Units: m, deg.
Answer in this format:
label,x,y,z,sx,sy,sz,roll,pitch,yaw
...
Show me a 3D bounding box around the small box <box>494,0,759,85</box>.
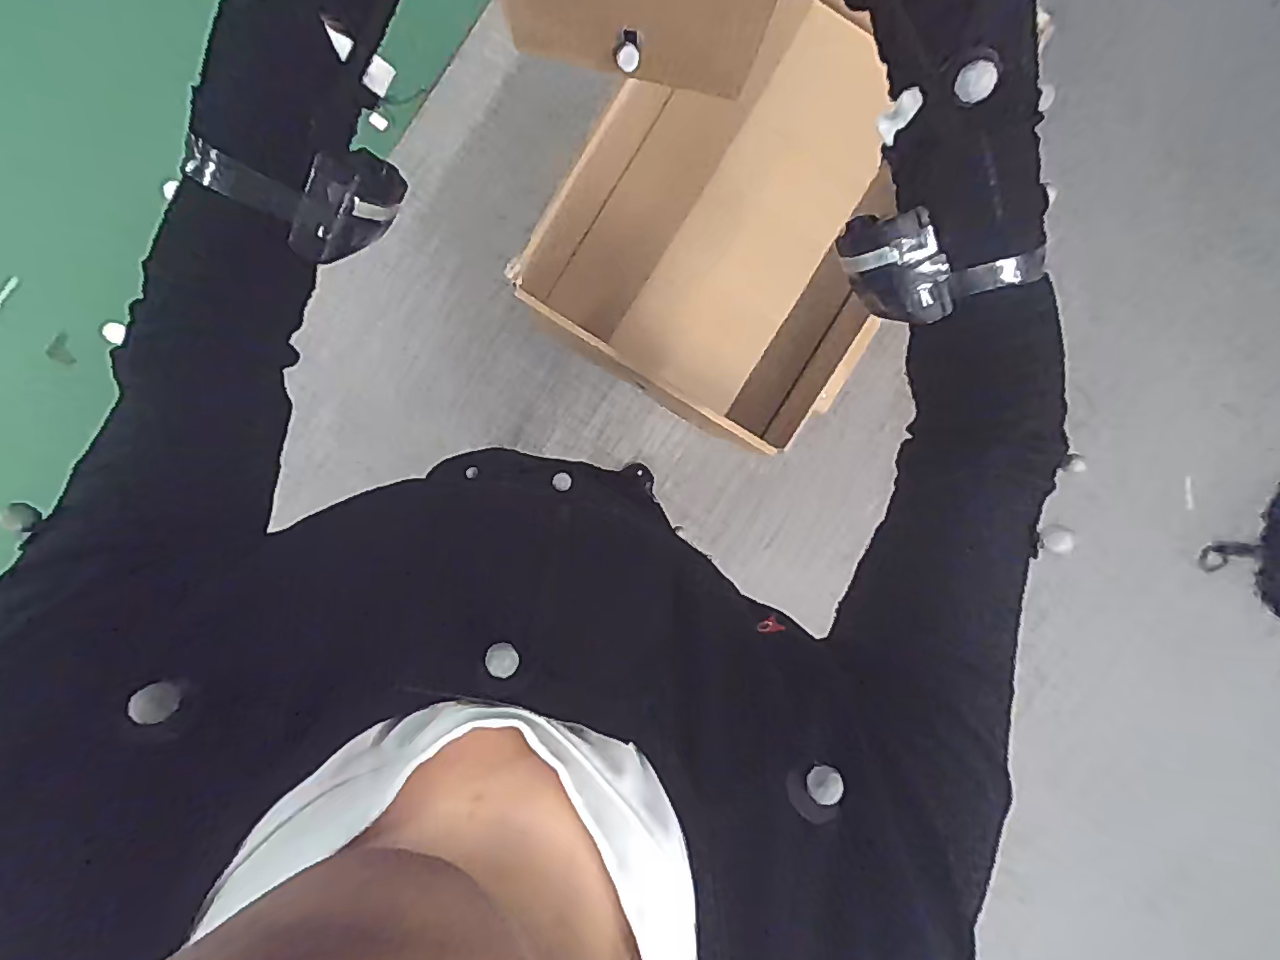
label,x,y,z,sx,sy,sz,roll,pitch,yaw
small box,0.002,-0.377,0.318,0.179,0.176,0.168,9,95,-4
